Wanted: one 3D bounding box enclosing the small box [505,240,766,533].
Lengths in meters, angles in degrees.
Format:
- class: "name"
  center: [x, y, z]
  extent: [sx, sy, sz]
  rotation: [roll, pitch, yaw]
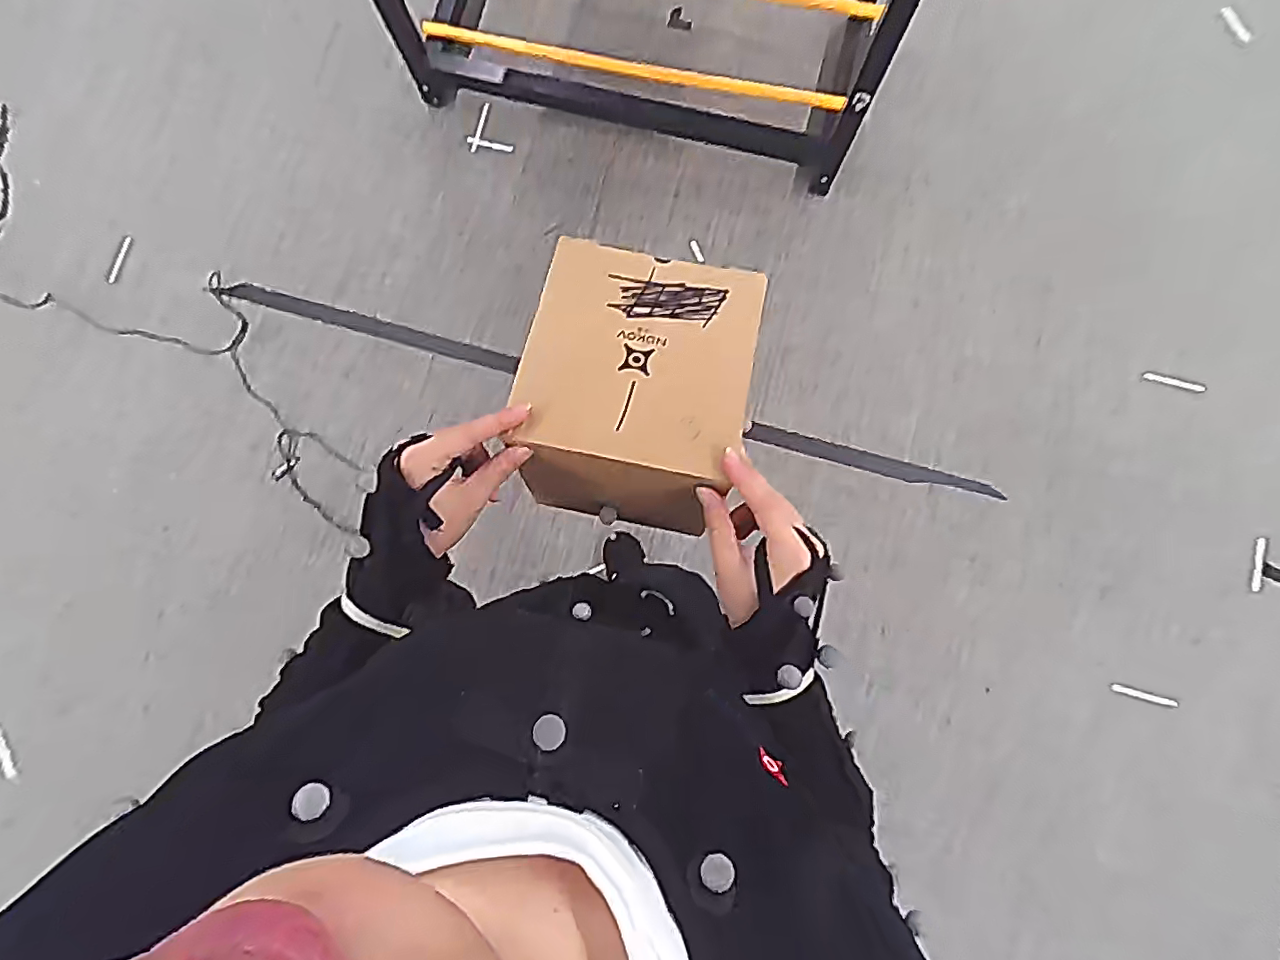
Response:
- class: "small box"
  center: [-0.001, -0.069, 0.474]
  extent: [0.168, 0.176, 0.179]
  rotation: [12, 72, 3]
